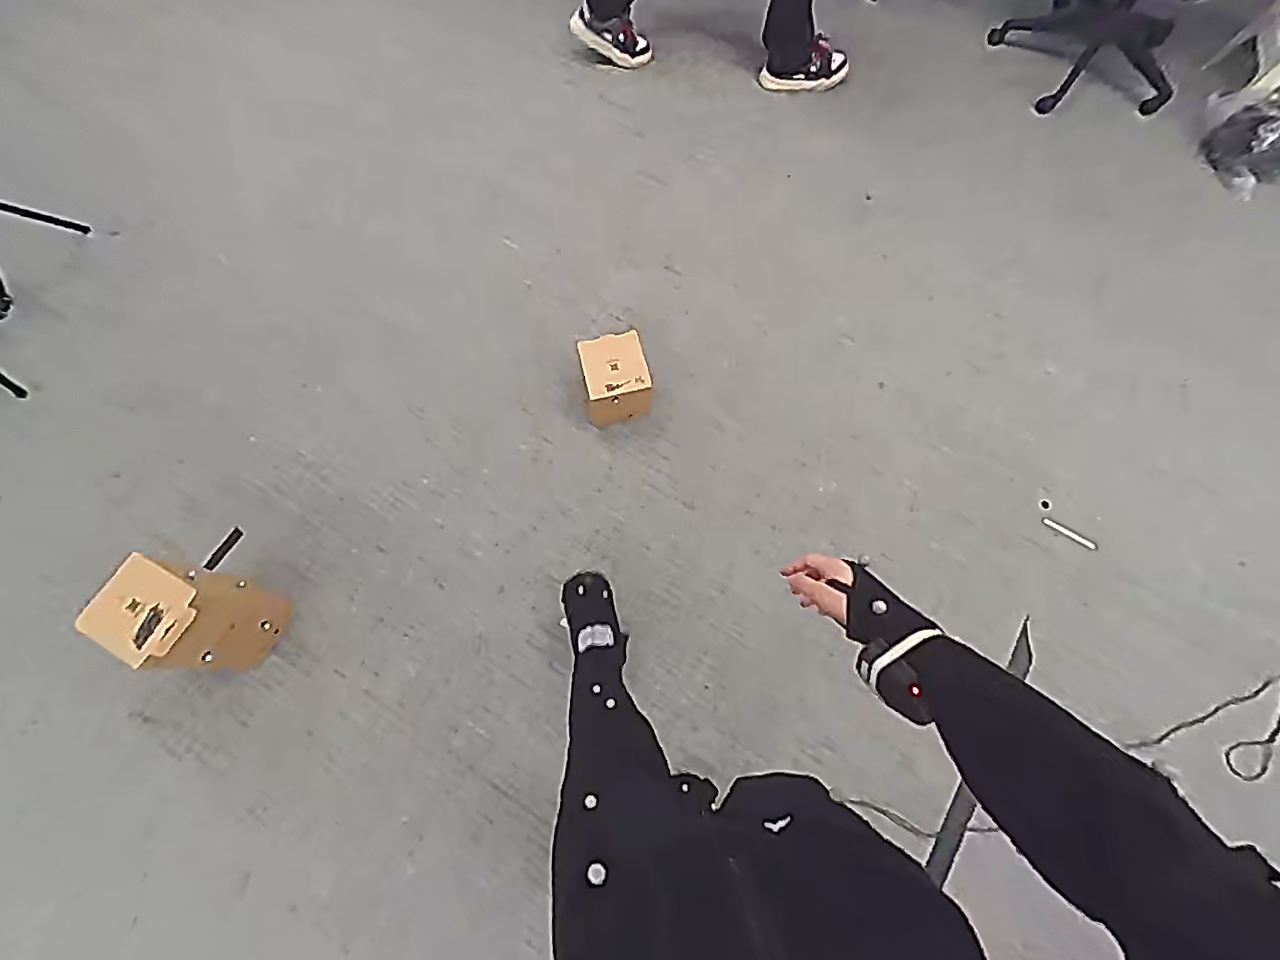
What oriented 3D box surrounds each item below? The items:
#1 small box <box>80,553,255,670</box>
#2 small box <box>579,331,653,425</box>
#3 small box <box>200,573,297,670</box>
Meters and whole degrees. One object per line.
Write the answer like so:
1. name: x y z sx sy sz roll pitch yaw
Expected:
1. small box: -0.962 0.275 1.121 0.179 0.176 0.168 27 73 9
2. small box: -0.067 -0.276 1.478 0.168 0.176 0.179 -13 72 -5
3. small box: -0.966 0.331 1.276 0.179 0.176 0.168 26 73 9
